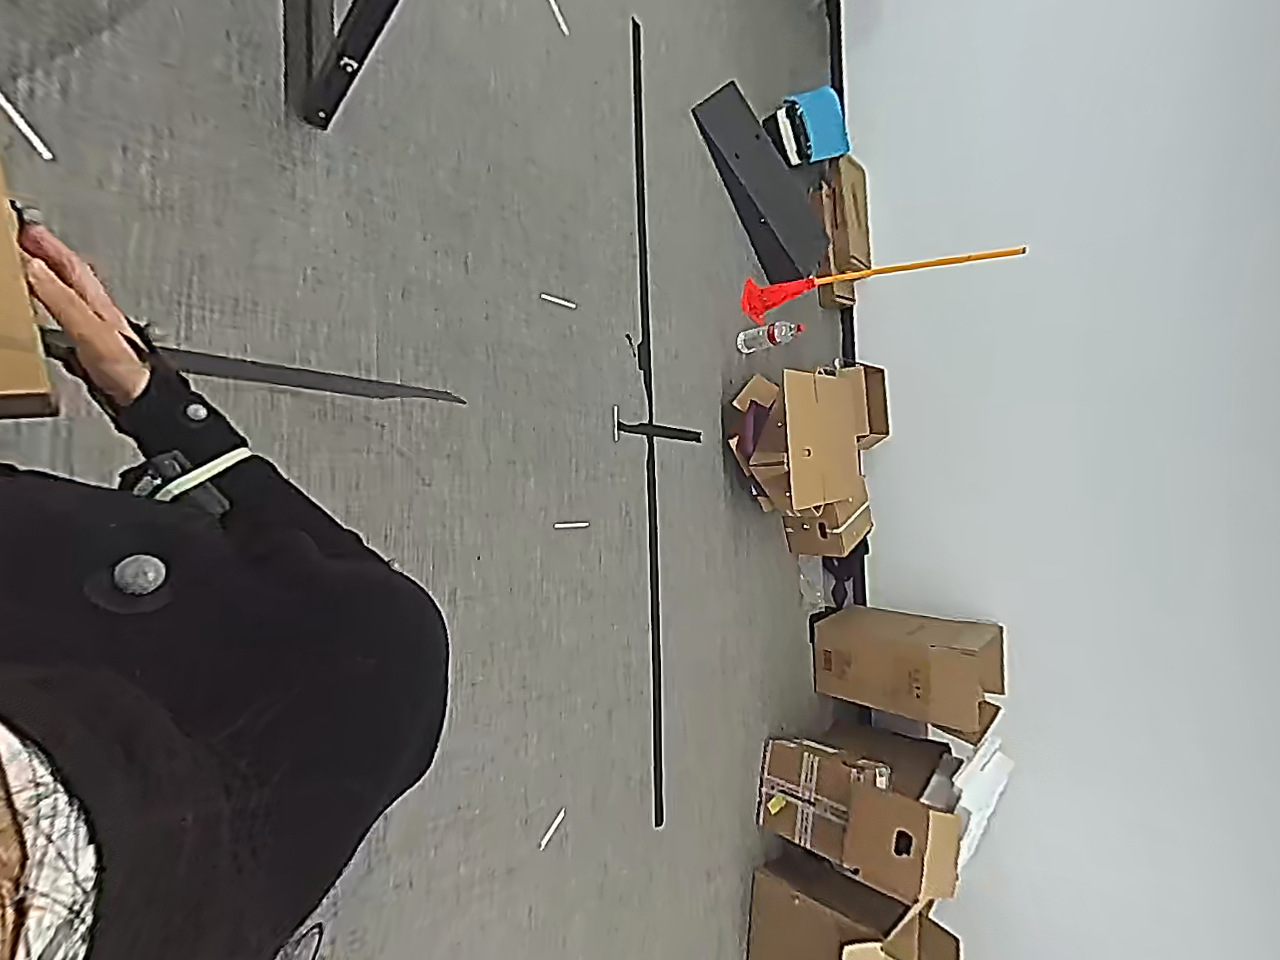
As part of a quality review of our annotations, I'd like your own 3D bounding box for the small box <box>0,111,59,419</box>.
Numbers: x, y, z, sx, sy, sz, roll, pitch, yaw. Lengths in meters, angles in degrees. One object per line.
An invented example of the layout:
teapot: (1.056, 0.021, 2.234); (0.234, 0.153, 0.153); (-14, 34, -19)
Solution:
small box: (-0.474, -0.127, 0.313); (0.168, 0.176, 0.179); (-13, 99, -46)
